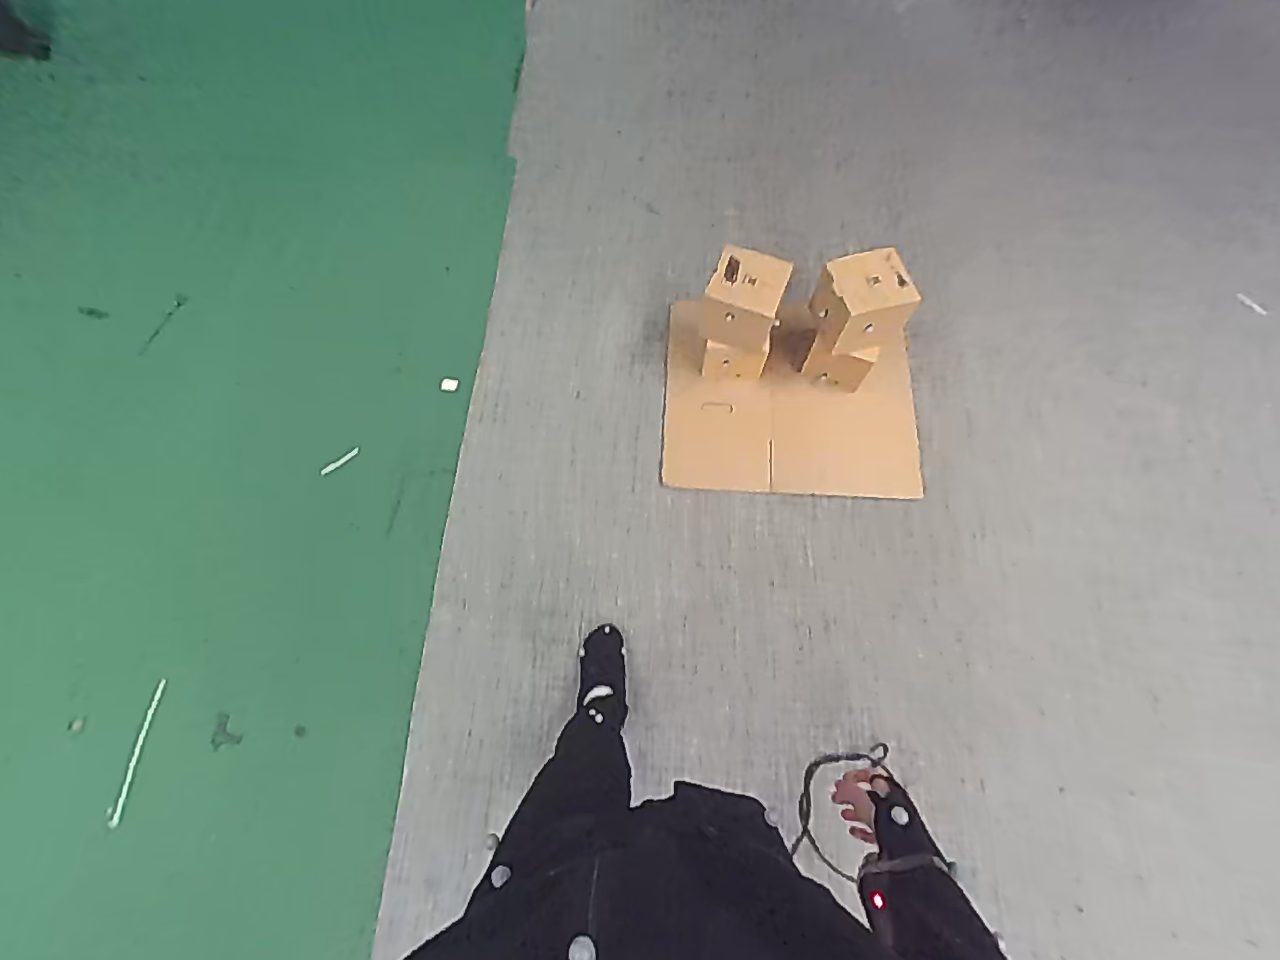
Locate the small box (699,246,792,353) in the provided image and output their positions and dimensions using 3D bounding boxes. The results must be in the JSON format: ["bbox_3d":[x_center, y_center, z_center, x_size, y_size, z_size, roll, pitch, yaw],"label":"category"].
[{"bbox_3d":[0.258,-0.448,1.362,0.179,0.176,0.168,21,72,8],"label":"small box"}]

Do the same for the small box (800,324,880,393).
[{"bbox_3d":[0.560,-0.375,1.498,0.168,0.176,0.179,21,72,9],"label":"small box"}]

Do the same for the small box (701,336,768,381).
[{"bbox_3d":[0.263,-0.395,1.518,0.168,0.176,0.179,5,70,3],"label":"small box"}]

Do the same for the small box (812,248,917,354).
[{"bbox_3d":[0.546,-0.438,1.347,0.179,0.176,0.168,-14,70,-2],"label":"small box"}]
